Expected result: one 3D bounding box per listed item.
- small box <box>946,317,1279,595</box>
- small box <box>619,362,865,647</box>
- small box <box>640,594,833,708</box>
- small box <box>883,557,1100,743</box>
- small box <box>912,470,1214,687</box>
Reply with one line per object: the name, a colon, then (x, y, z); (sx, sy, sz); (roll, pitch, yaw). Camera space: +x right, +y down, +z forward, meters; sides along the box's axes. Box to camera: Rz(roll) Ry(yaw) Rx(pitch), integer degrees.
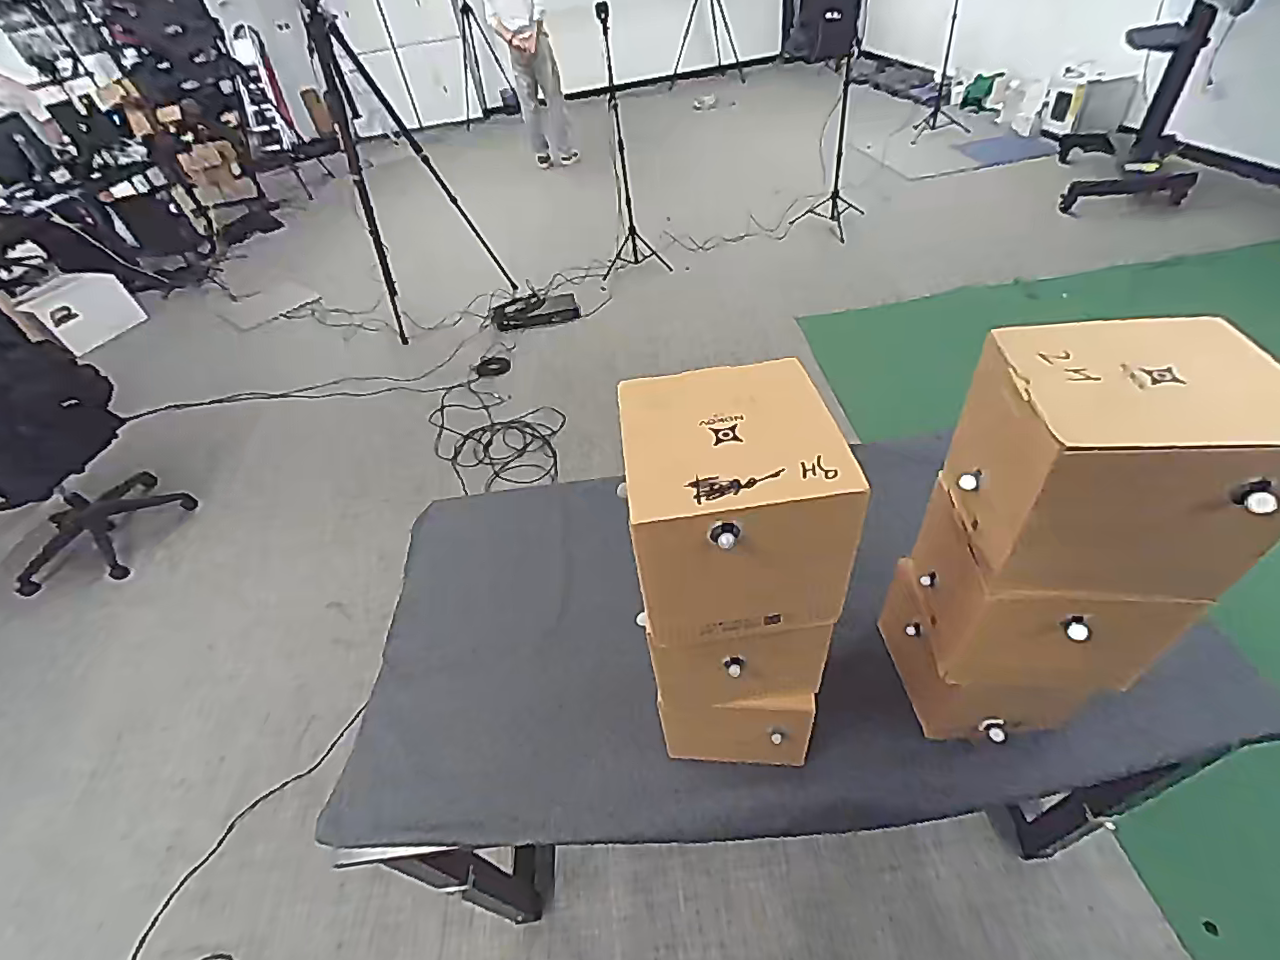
small box: (0.389, -0.017, 0.458); (0.179, 0.176, 0.168); (-1, 44, 13)
small box: (0.075, 0.021, 0.479); (0.168, 0.176, 0.179); (-8, 43, 2)
small box: (0.094, 0.132, 0.599); (0.179, 0.176, 0.168); (-9, 43, 3)
small box: (0.432, 0.209, 0.691); (0.168, 0.176, 0.179); (-9, 43, 3)
small box: (0.410, 0.103, 0.569); (0.179, 0.176, 0.168); (-2, 44, 12)
